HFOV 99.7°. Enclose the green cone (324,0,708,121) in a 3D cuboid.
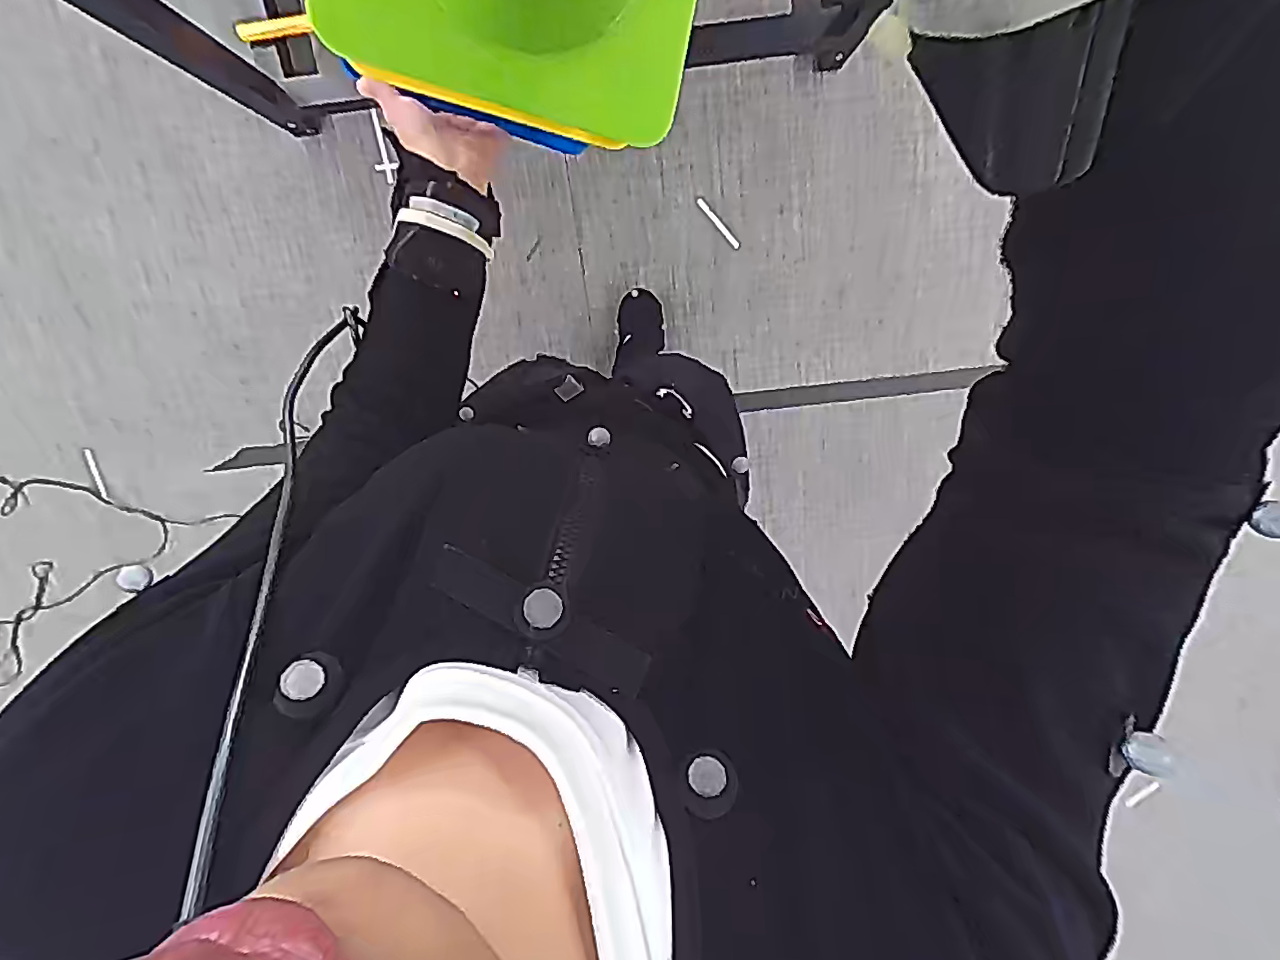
[{"bbox_3d":[-0.014,-0.249,0.109,0.200,0.368,0.202,6,109,-16],"label":"green cone"}]
